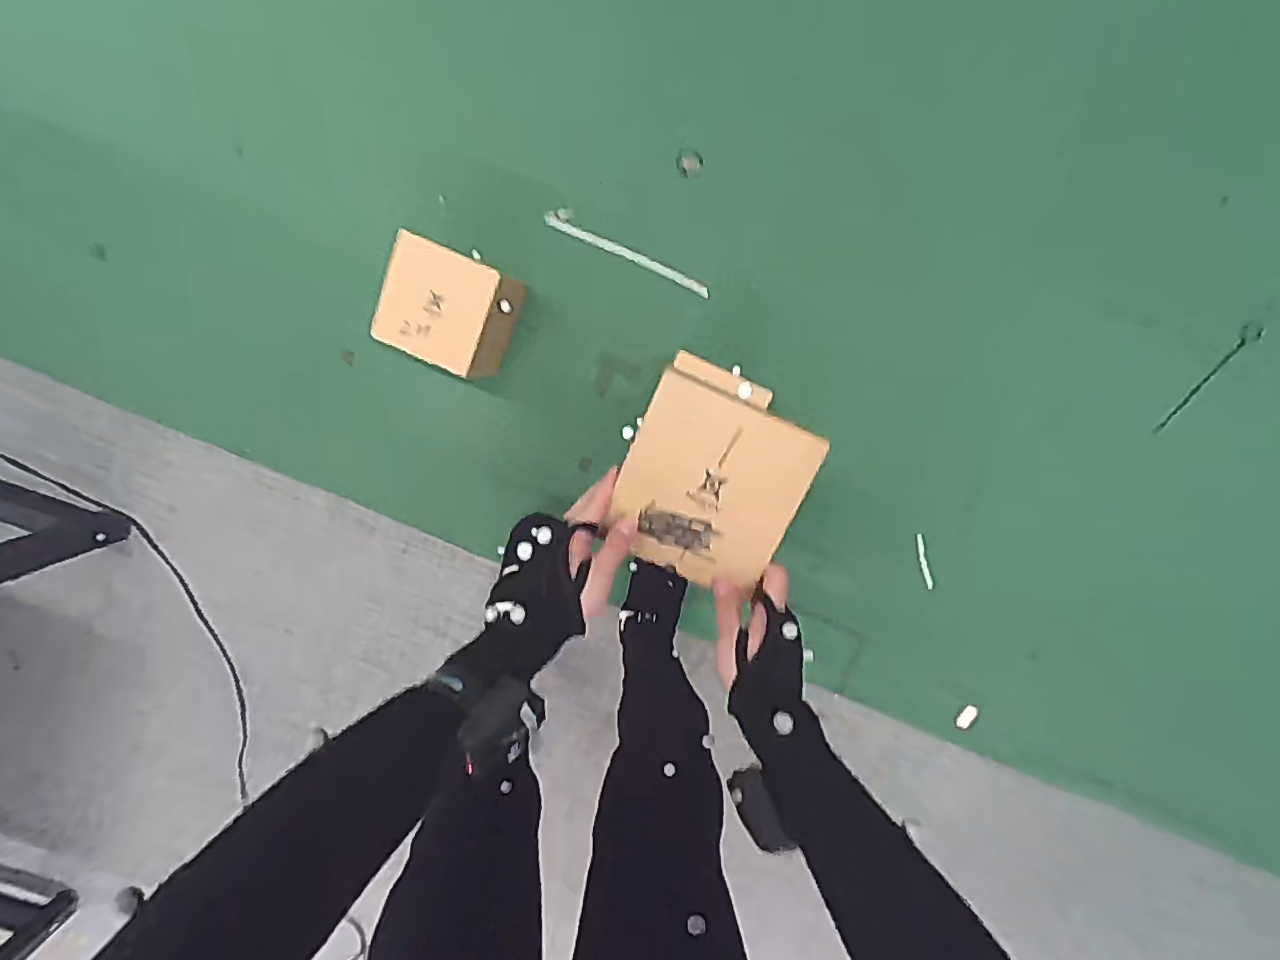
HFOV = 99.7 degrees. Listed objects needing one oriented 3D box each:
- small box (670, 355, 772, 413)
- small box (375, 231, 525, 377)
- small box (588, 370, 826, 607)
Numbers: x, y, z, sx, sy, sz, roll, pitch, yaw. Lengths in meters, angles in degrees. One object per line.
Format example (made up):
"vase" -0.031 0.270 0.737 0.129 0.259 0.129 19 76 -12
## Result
"small box" 0.105 -0.109 0.951 0.168 0.176 0.179 25 104 -3
"small box" -0.313 -0.292 0.928 0.168 0.176 0.179 24 103 -2
"small box" 0.064 -0.003 0.575 0.168 0.176 0.179 25 103 -3
